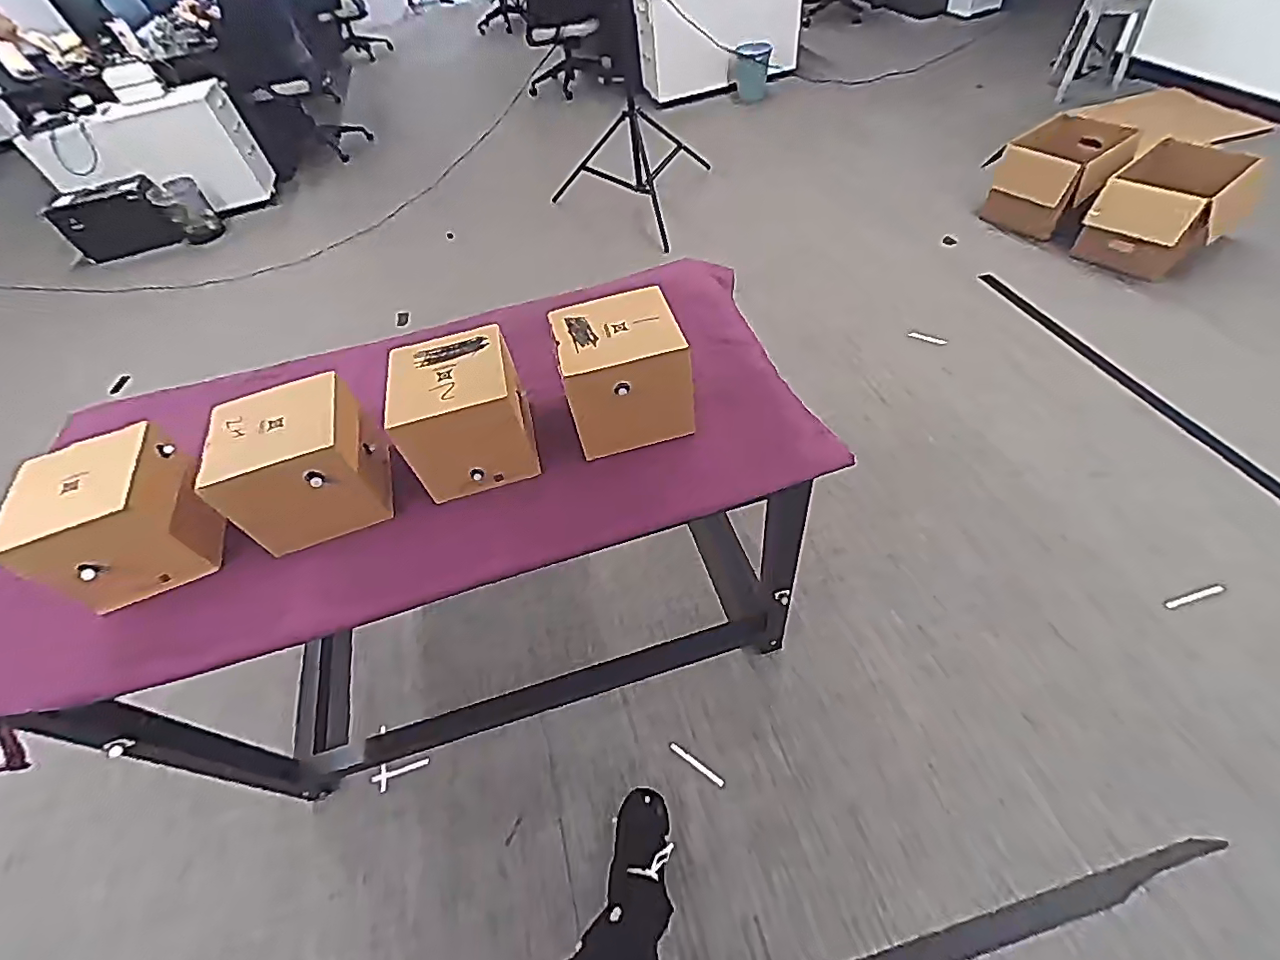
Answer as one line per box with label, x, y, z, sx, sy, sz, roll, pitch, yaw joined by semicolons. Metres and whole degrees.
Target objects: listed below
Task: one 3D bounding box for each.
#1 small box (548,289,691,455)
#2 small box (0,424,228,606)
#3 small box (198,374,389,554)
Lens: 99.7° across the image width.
small box;-0.028;-0.161;0.831;0.179;0.176;0.168;-15;50;-3
small box;-0.730;0.058;0.772;0.168;0.176;0.179;-22;51;-9
small box;-0.486;-0.021;0.794;0.179;0.176;0.168;-20;51;-7
